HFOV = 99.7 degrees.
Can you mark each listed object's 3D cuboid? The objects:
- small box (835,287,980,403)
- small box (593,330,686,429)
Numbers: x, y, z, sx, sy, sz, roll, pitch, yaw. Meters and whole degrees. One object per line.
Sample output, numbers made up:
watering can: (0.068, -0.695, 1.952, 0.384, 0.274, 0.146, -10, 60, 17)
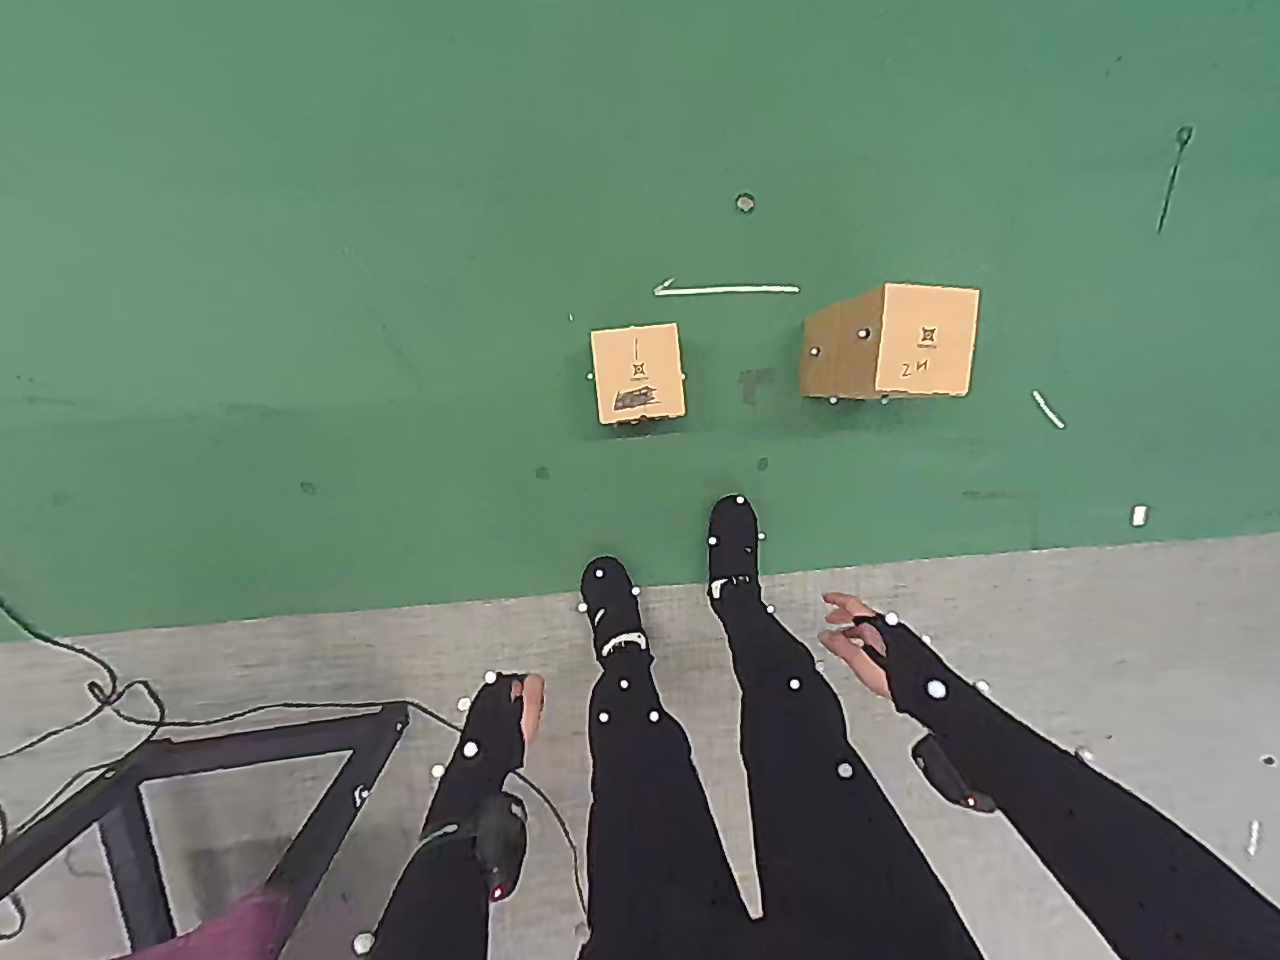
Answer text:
small box: (0.469, -0.233, 0.972, 0.168, 0.176, 0.179, 2, 97, -5)
small box: (-0.004, -0.201, 1.103, 0.168, 0.176, 0.179, -6, 97, -4)
